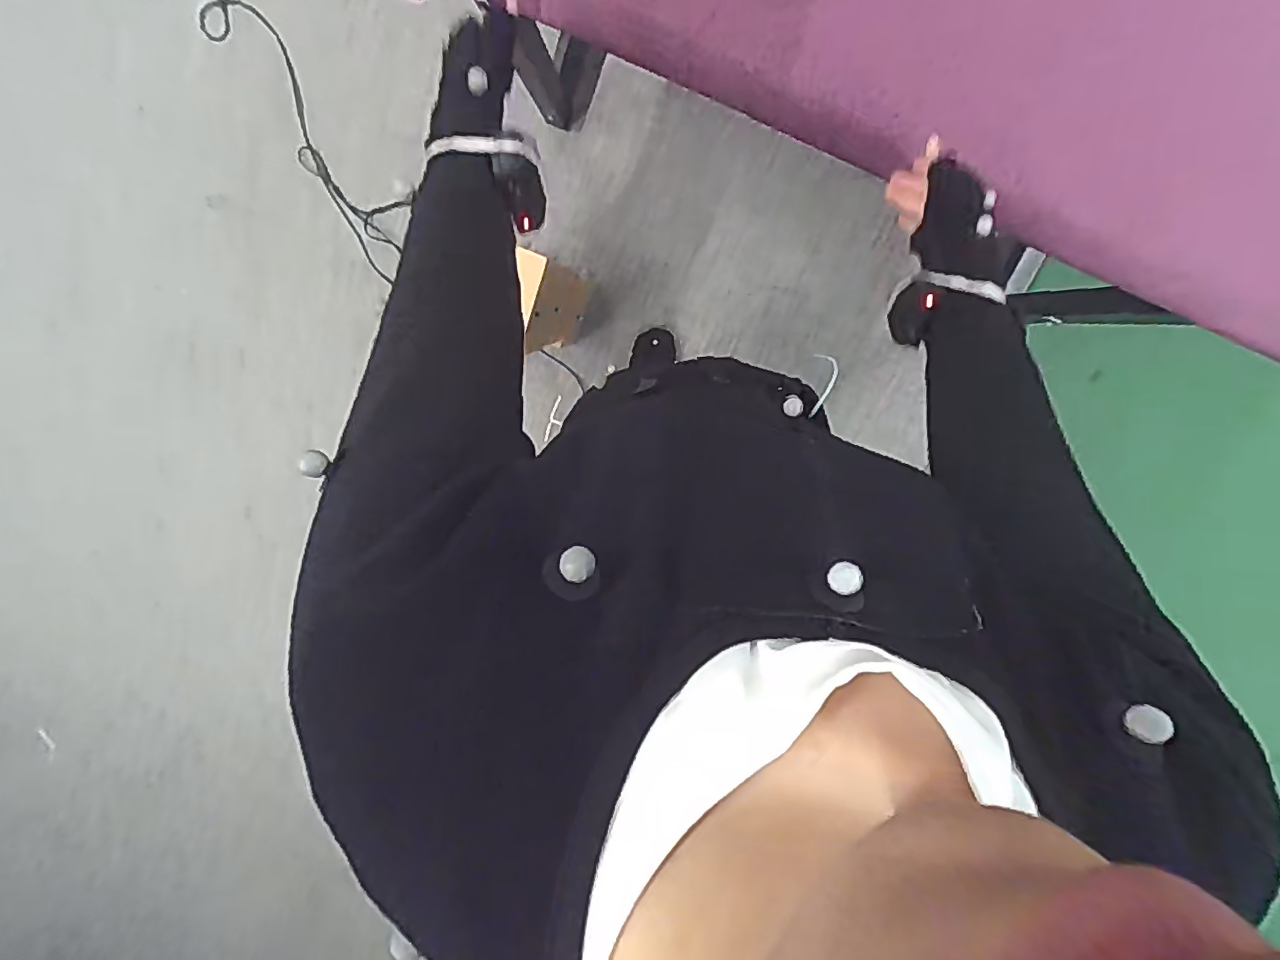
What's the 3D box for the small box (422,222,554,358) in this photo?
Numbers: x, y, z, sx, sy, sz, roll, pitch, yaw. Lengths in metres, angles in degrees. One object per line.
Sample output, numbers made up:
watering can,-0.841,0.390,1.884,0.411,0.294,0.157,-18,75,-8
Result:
small box,-0.267,-0.342,0.988,0.168,0.176,0.179,21,108,-4
